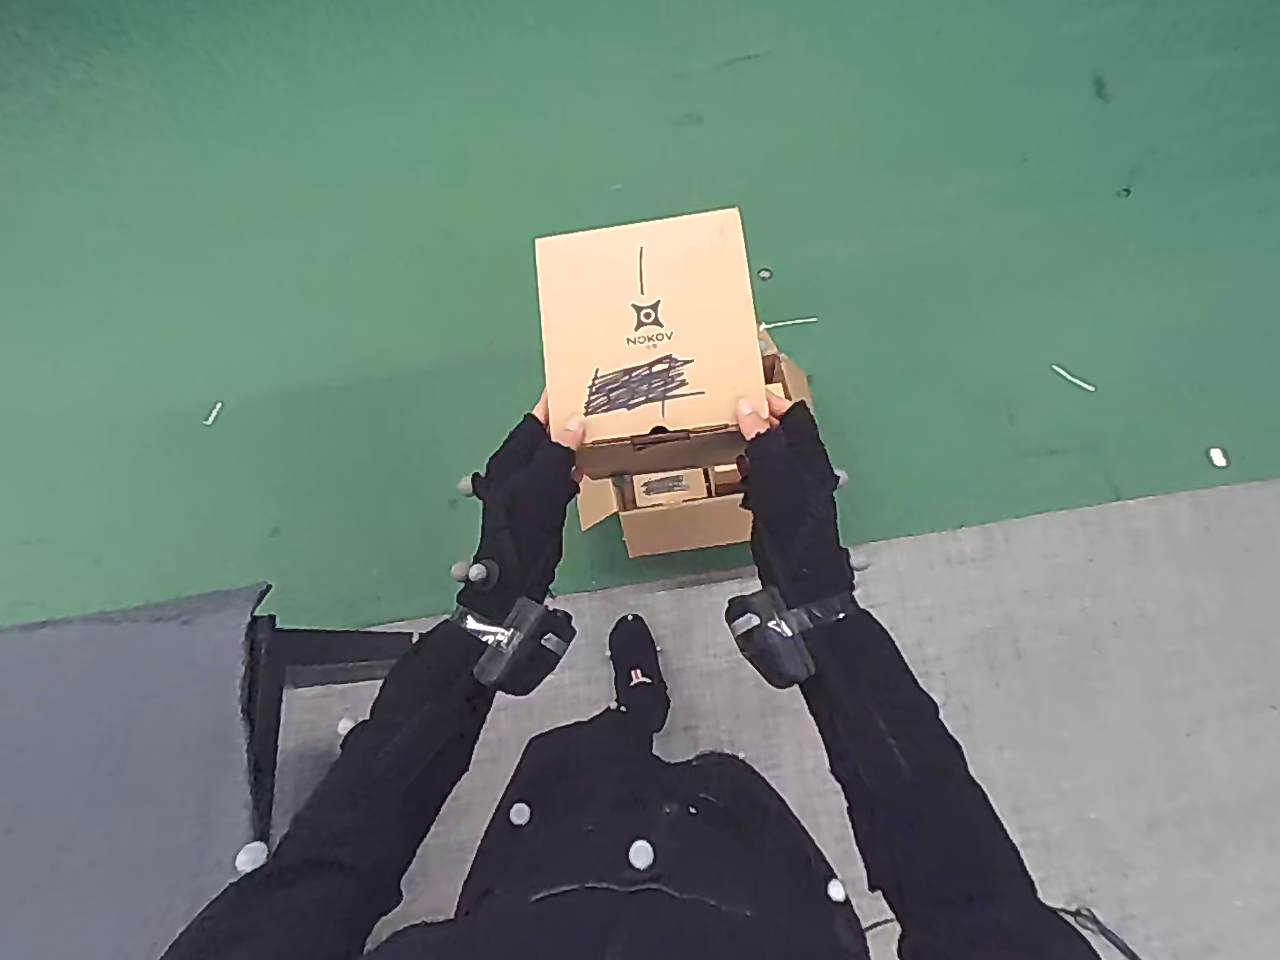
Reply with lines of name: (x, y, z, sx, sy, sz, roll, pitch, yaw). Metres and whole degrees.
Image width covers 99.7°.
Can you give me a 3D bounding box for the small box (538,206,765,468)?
small box: (0.014, -0.110, 0.496, 0.168, 0.176, 0.179, -7, 81, 4)
